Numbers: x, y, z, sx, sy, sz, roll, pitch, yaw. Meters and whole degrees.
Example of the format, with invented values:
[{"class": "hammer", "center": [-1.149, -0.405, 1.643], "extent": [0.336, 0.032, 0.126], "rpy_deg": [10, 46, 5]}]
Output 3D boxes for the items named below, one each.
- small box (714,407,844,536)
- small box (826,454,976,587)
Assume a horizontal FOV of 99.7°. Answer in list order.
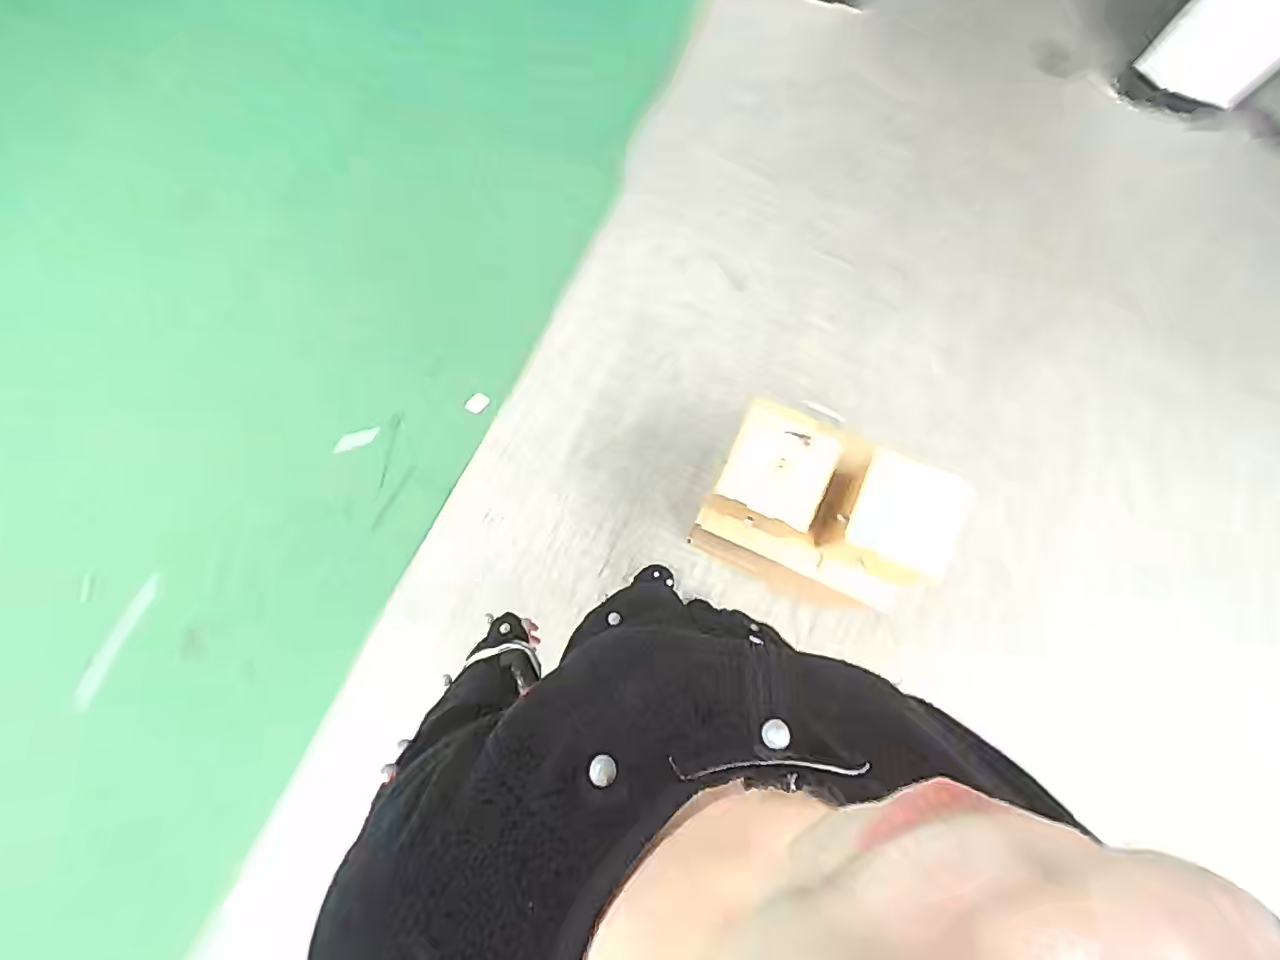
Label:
[{"class": "small box", "center": [0.249, -0.006, 1.012], "extent": [0.168, 0.176, 0.179], "rpy_deg": [26, 82, 5]}, {"class": "small box", "center": [0.463, 0.081, 0.987], "extent": [0.168, 0.176, 0.179], "rpy_deg": [25, 80, 8]}]
